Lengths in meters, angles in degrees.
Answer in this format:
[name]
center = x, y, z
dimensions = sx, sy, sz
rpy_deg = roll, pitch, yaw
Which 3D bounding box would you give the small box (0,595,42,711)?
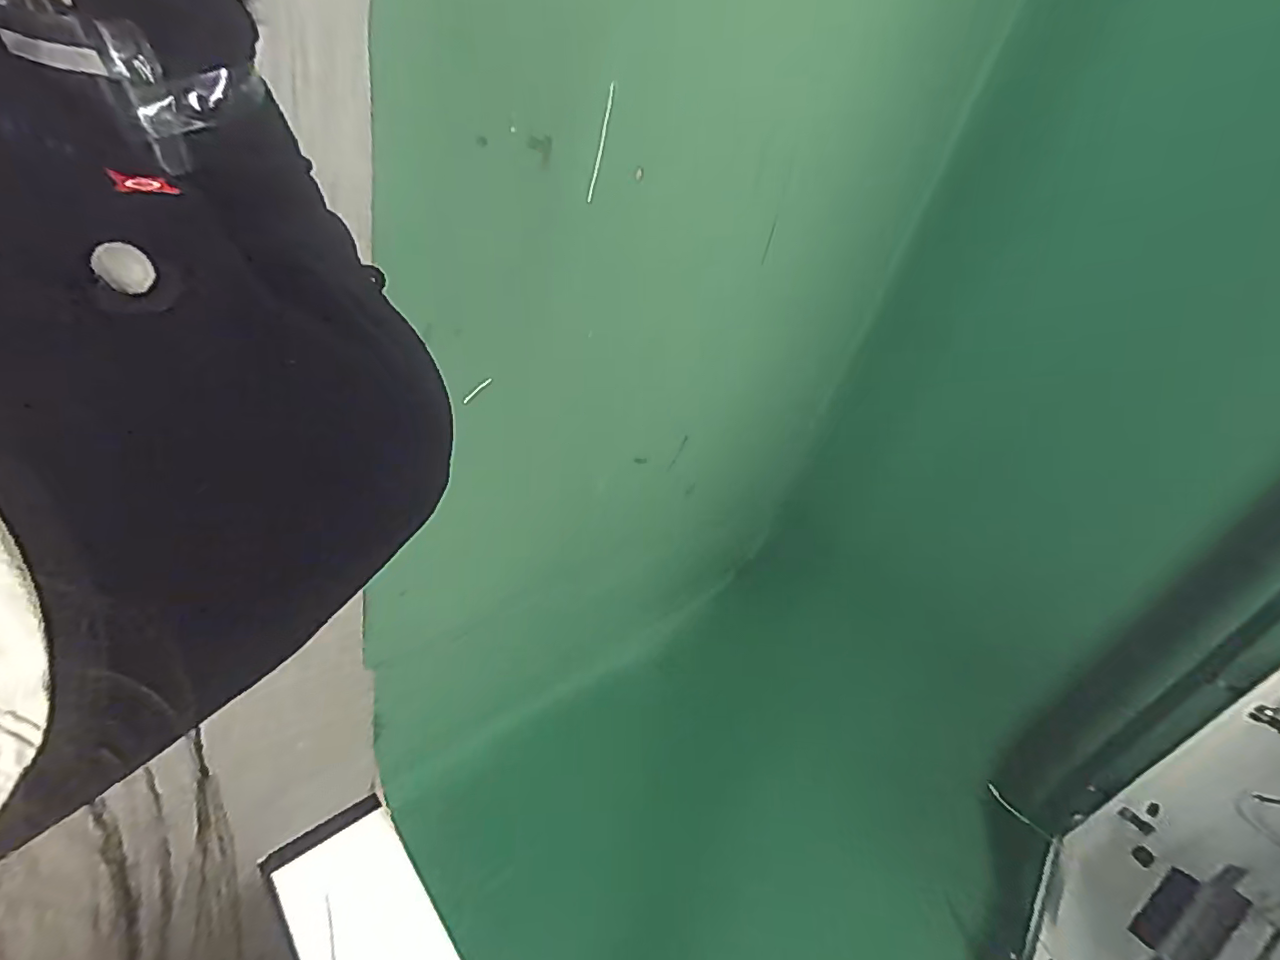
[small box]
center = -1.361, 0.367, 1.088
dimensions = 0.179, 0.176, 0.168
rpy_deg = -19, 136, -41
